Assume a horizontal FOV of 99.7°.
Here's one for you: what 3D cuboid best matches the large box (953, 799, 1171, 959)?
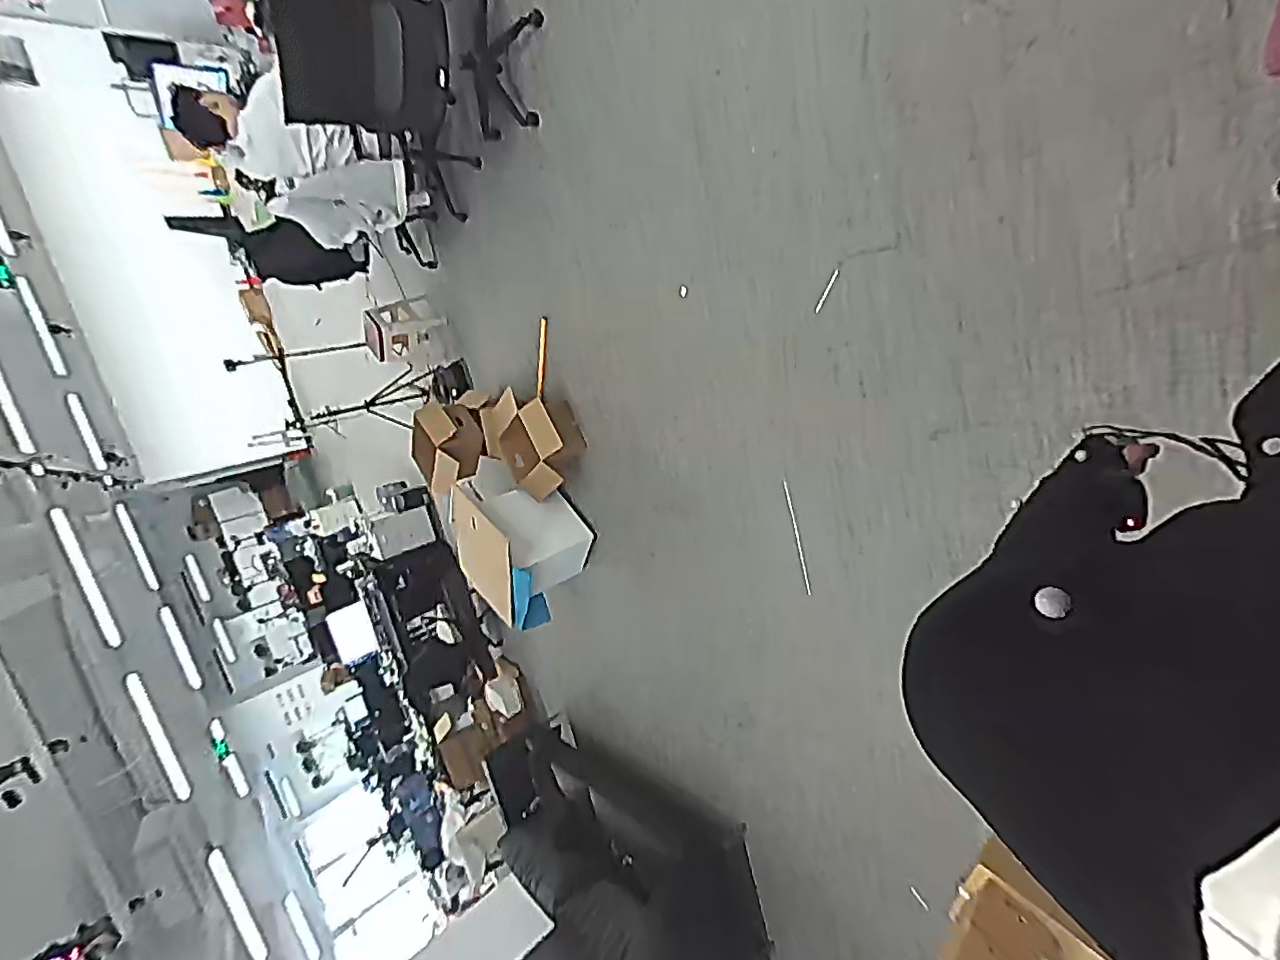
[{"bbox_3d":[1.234,1.271,1.606,0.408,0.320,0.320,27,128,40],"label":"large box"}]

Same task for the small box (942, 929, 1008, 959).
[{"bbox_3d":[0.876,1.319,1.393,0.168,0.176,0.179,34,131,36],"label":"small box"}]

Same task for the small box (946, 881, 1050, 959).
[{"bbox_3d":[0.994,1.276,1.498,0.168,0.176,0.179,34,130,36],"label":"small box"}]
